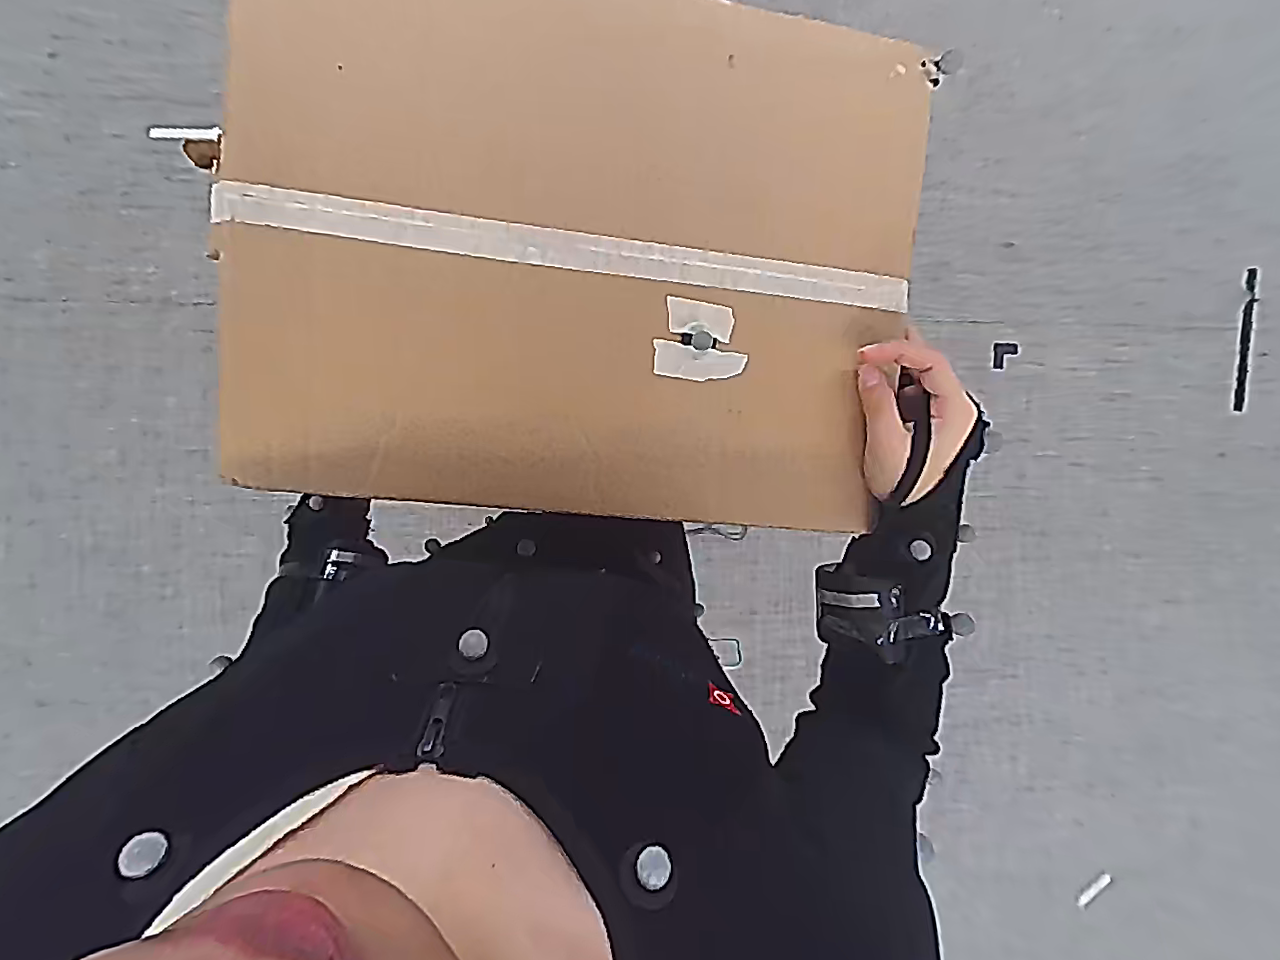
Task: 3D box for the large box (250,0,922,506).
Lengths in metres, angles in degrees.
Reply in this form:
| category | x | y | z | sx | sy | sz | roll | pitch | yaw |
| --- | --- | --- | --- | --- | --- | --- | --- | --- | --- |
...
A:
| category | x | y | z | sx | sy | sz | roll | pitch | yaw |
| --- | --- | --- | --- | --- | --- | --- | --- | --- | --- |
| large box | -0.045 | -0.159 | 0.480 | 0.408 | 0.320 | 0.320 | 5 | 95 | -10 |
